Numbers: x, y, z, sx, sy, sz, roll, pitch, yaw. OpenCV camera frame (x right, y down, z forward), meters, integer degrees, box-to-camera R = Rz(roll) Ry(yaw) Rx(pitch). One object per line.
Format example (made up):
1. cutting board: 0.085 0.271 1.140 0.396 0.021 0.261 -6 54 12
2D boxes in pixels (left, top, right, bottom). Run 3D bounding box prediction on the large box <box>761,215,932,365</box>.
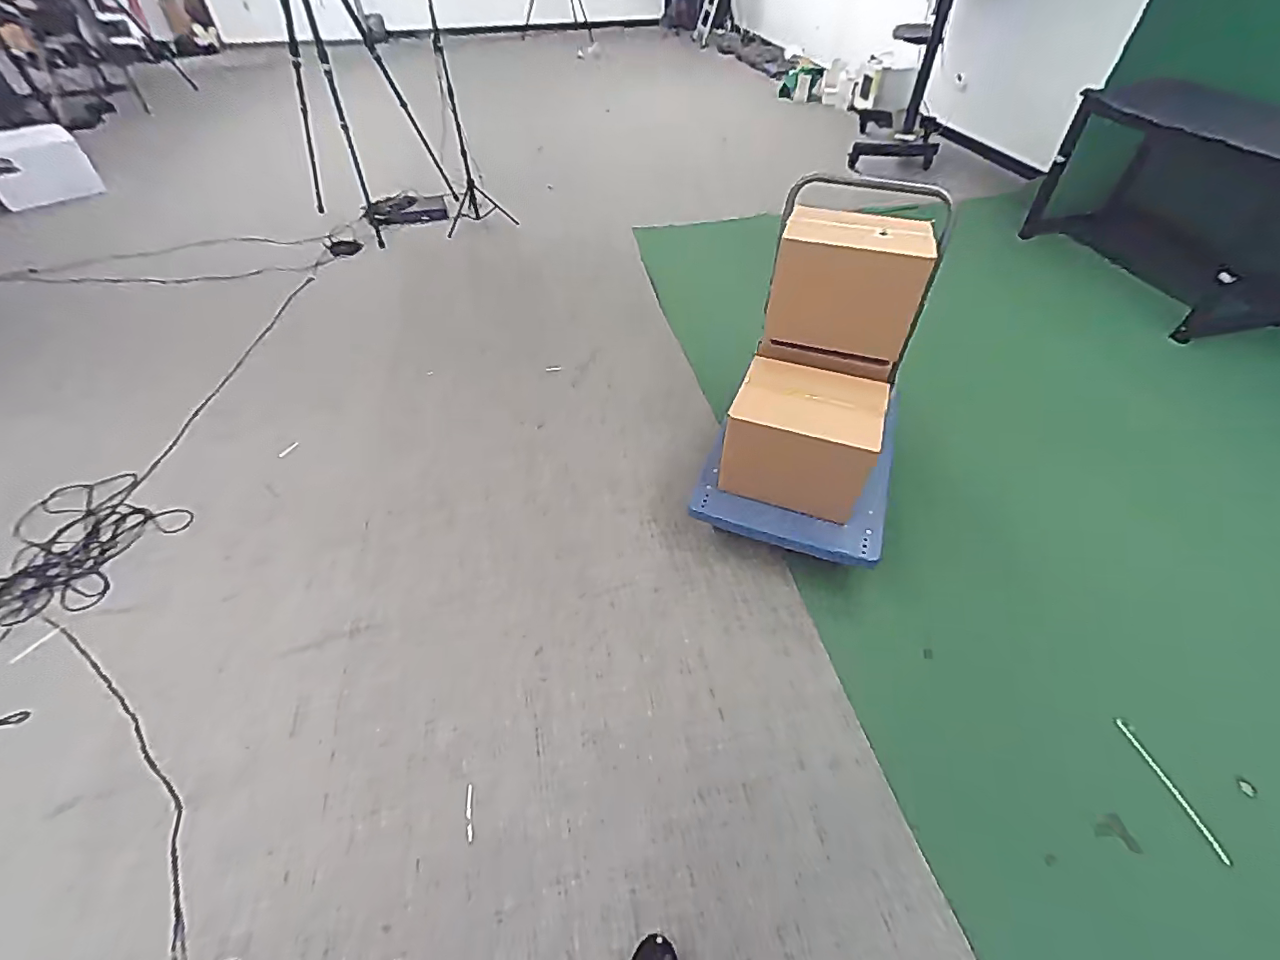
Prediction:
1. large box: 0.613 -0.586 1.655 0.408 0.320 0.320 15 44 12
